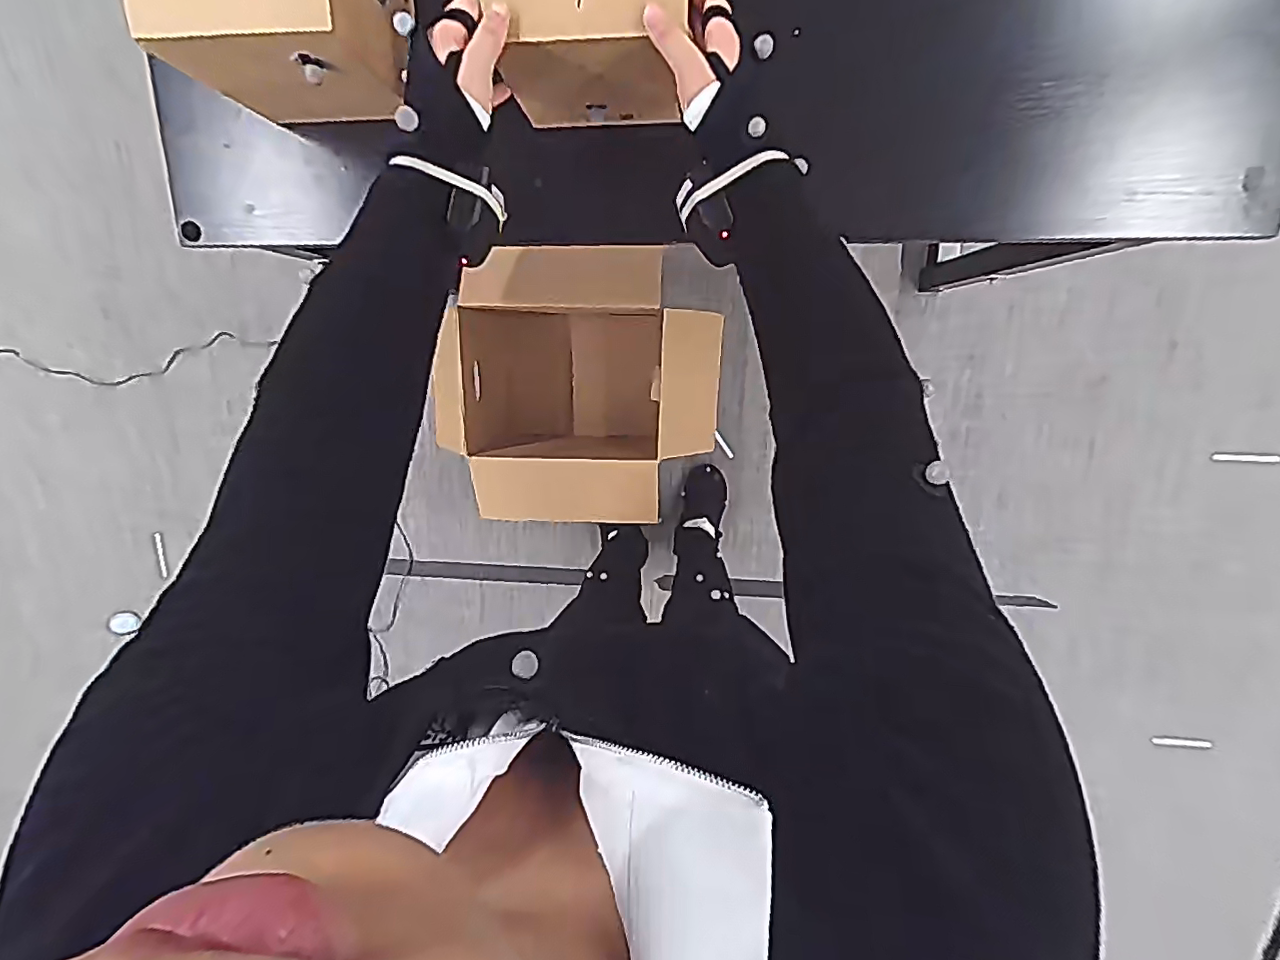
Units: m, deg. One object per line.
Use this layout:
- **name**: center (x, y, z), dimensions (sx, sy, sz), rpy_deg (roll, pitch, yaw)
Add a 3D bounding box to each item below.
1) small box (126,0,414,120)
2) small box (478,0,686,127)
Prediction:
- **small box**: center (-0.327, -0.458, 0.499), dimensions (0.179, 0.176, 0.168), rpy_deg (0, 103, 3)
- **small box**: center (-0.042, -0.449, 0.485), dimensions (0.168, 0.176, 0.179), rpy_deg (1, 104, 4)
